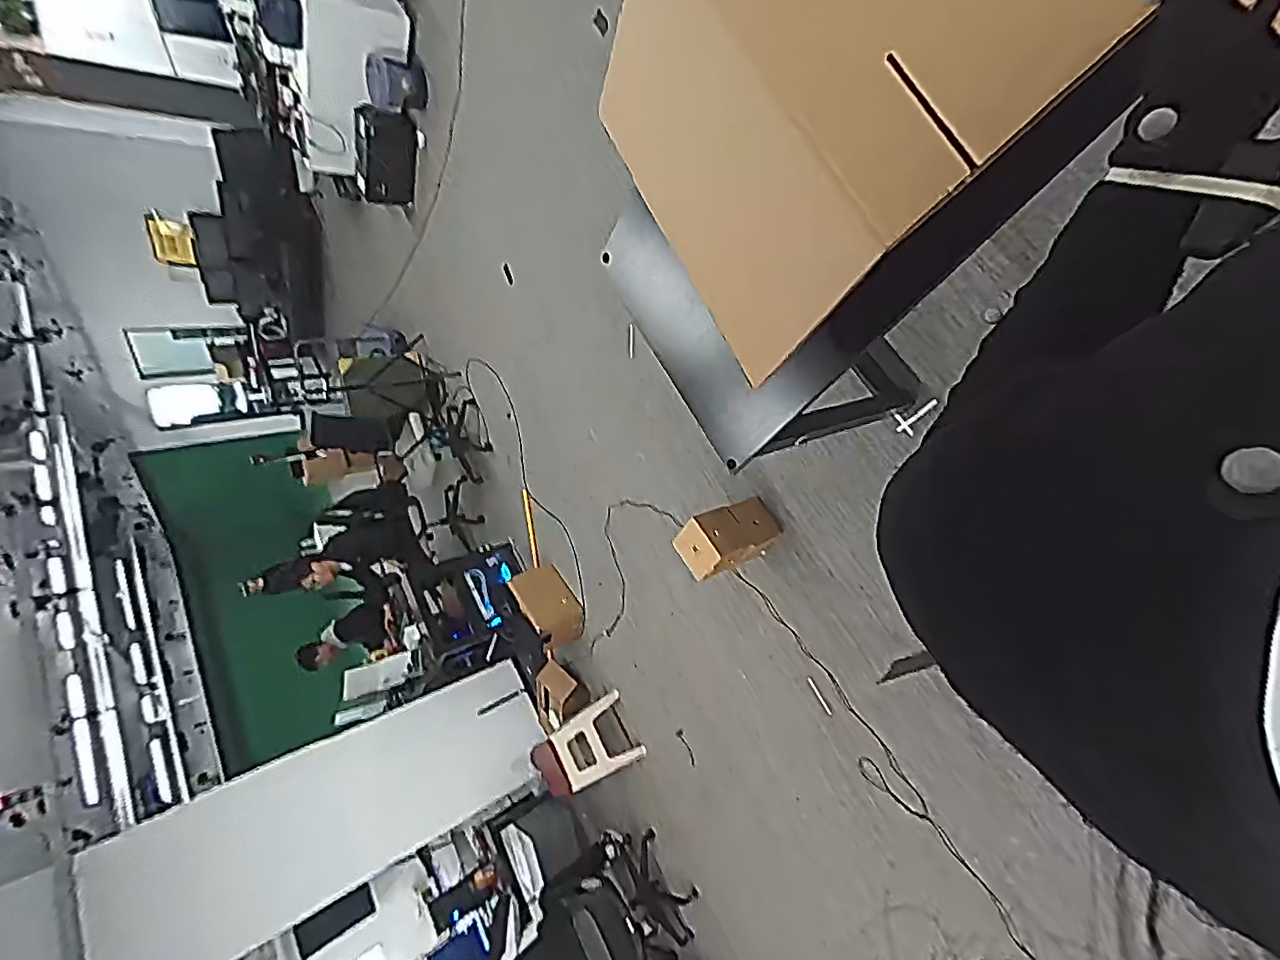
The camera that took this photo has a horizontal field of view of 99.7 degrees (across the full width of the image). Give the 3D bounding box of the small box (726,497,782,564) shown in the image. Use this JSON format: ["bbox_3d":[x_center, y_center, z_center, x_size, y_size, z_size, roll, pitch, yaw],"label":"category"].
[{"bbox_3d":[0.379,0.176,1.976,0.179,0.176,0.168,58,140,20],"label":"small box"}]

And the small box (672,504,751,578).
[{"bbox_3d":[0.251,0.206,1.881,0.179,0.176,0.168,57,138,24],"label":"small box"}]
